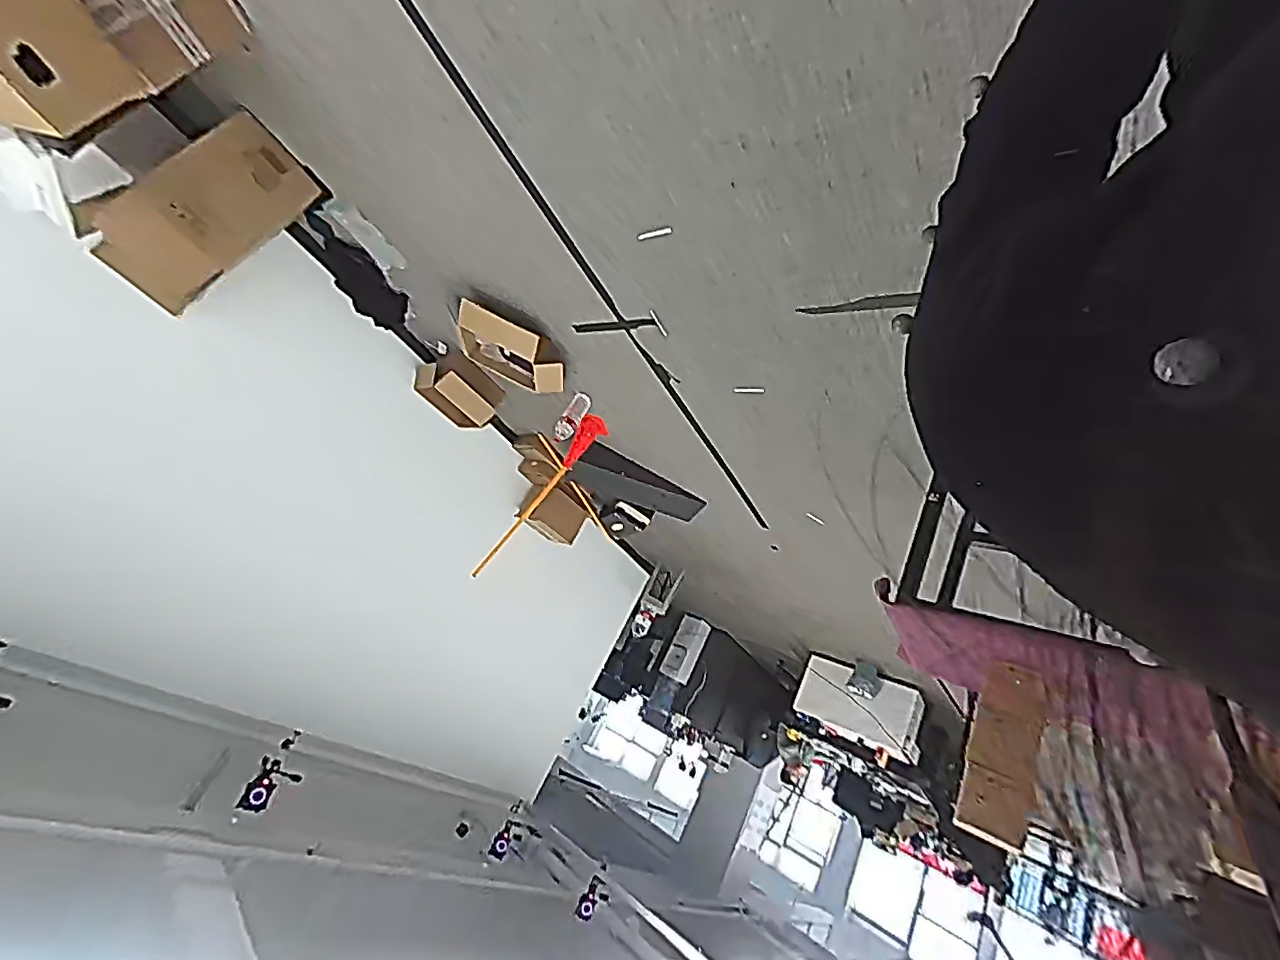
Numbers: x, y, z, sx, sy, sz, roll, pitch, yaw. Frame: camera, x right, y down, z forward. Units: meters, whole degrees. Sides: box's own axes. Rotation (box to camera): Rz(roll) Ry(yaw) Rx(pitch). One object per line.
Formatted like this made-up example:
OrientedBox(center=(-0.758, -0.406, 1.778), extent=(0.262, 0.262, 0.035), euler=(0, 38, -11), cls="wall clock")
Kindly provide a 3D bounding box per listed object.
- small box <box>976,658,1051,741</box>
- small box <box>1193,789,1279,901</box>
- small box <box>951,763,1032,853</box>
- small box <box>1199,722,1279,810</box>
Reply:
OrientedBox(center=(1.171, 0.686, 1.697), extent=(0.168, 0.176, 0.179), euler=(12, 153, 36), cls="small box")
OrientedBox(center=(1.458, 0.868, 1.284), extent=(0.168, 0.176, 0.179), euler=(11, 153, 39), cls="small box")
OrientedBox(center=(1.022, 0.949, 1.573), extent=(0.168, 0.176, 0.179), euler=(15, 156, 36), cls="small box")
OrientedBox(center=(1.533, 0.735, 1.344), extent=(0.168, 0.176, 0.179), euler=(11, 151, 40), cls="small box")
